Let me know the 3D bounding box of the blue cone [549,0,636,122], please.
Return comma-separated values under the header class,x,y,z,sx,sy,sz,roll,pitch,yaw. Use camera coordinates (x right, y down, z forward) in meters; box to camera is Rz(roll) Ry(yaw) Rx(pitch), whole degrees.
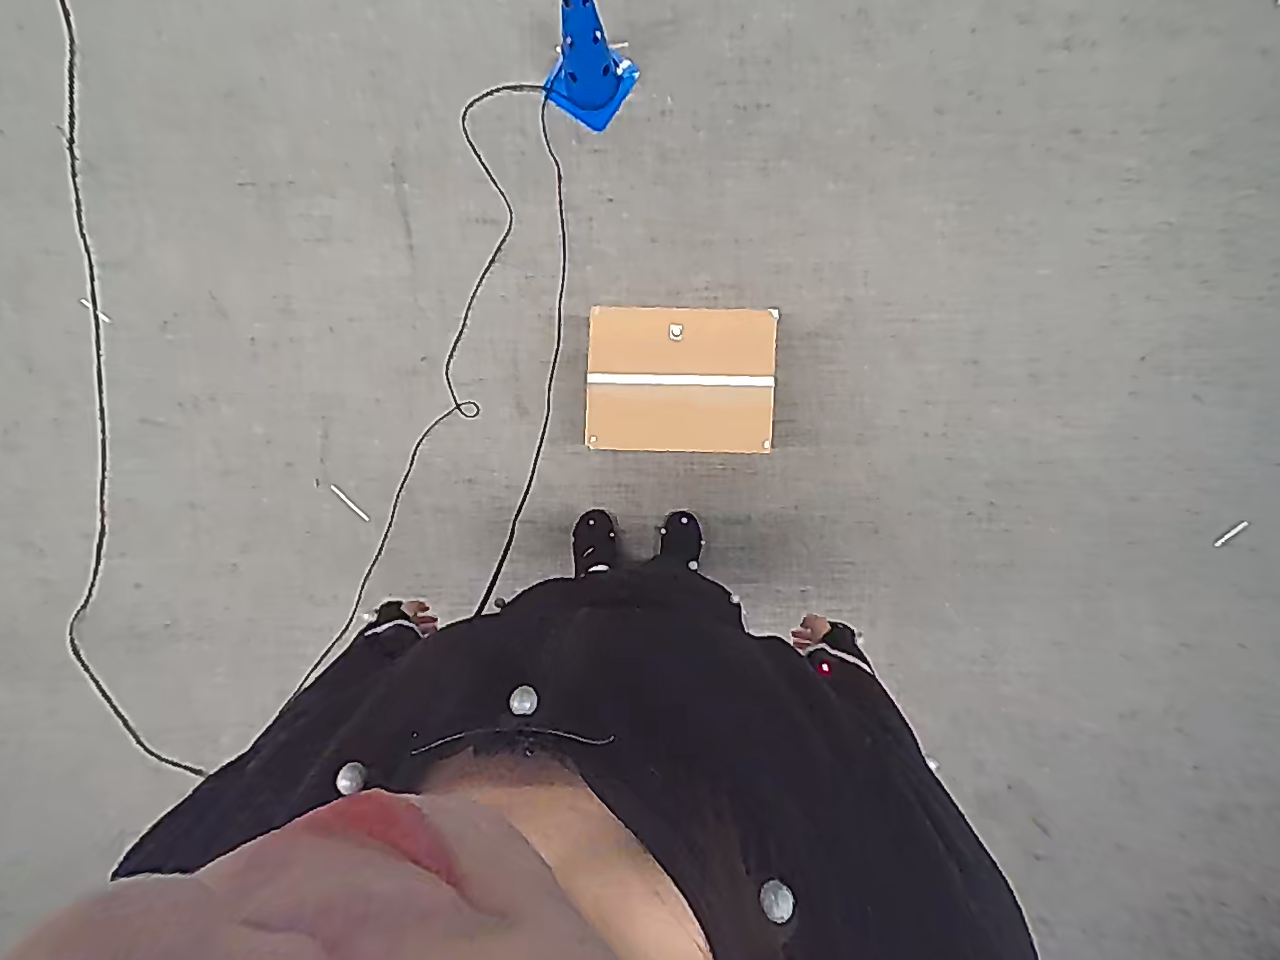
class,x,y,z,sx,sy,sz,roll,pitch,yaw
blue cone,-0.126,-1.047,1.242,0.192,0.380,0.193,33,93,-1
